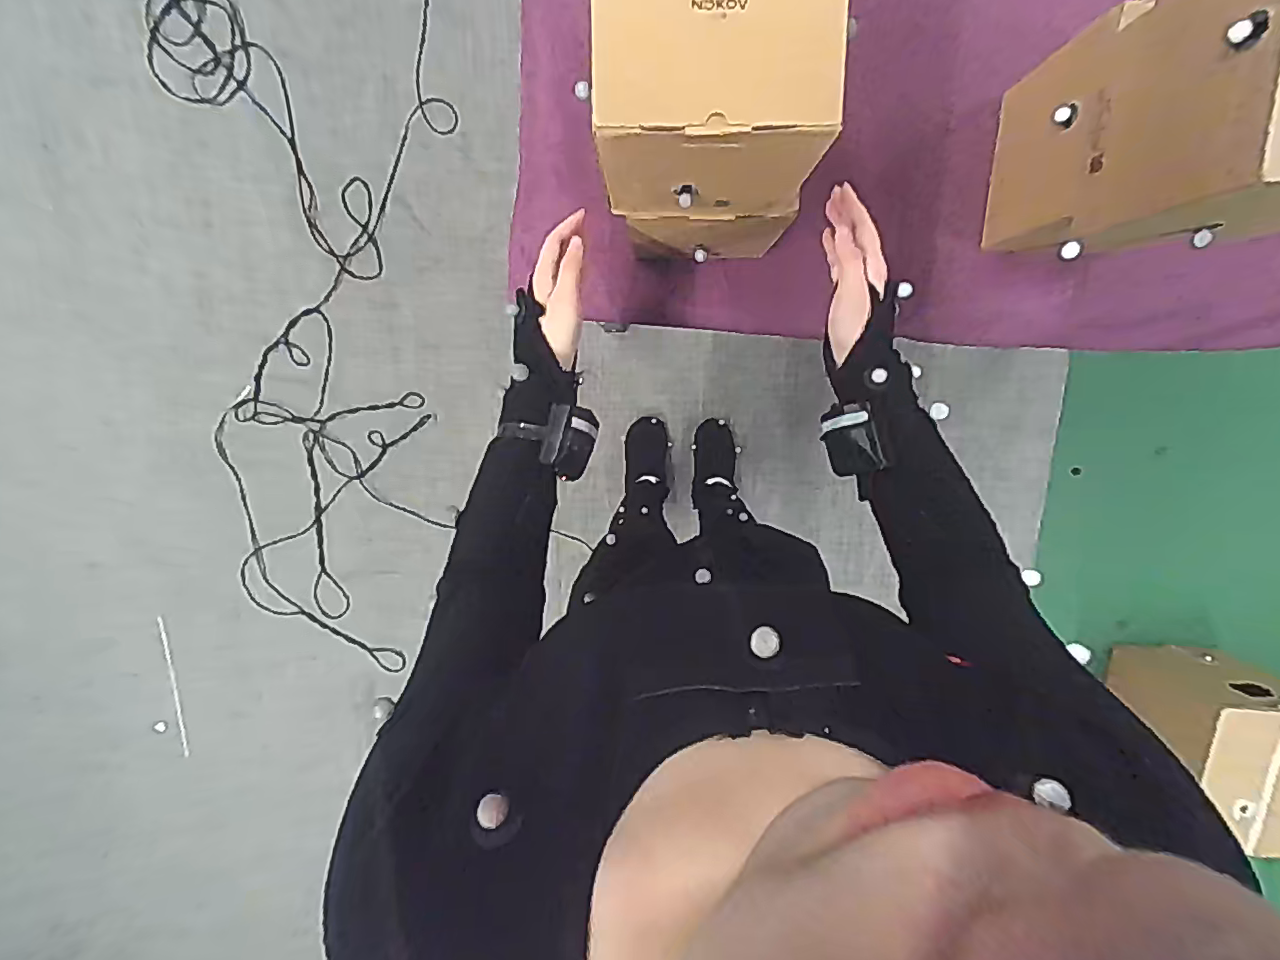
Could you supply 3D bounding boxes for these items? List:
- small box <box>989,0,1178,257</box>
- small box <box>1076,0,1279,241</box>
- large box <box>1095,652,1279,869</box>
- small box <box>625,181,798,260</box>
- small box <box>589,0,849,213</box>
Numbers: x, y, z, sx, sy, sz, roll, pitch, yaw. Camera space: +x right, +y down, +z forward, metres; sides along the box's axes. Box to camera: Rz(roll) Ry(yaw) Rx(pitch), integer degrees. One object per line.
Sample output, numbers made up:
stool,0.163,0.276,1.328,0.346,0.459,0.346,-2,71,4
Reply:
small box,0.503,-0.347,0.566,0.168,0.176,0.179,2,101,1
small box,0.491,-0.289,0.410,0.179,0.176,0.168,-1,100,2
large box,1.491,0.706,1.410,0.320,0.320,0.408,3,102,1
small box,0.067,-0.346,0.573,0.168,0.176,0.179,0,100,2
small box,0.049,-0.325,0.413,0.168,0.176,0.179,0,99,1
